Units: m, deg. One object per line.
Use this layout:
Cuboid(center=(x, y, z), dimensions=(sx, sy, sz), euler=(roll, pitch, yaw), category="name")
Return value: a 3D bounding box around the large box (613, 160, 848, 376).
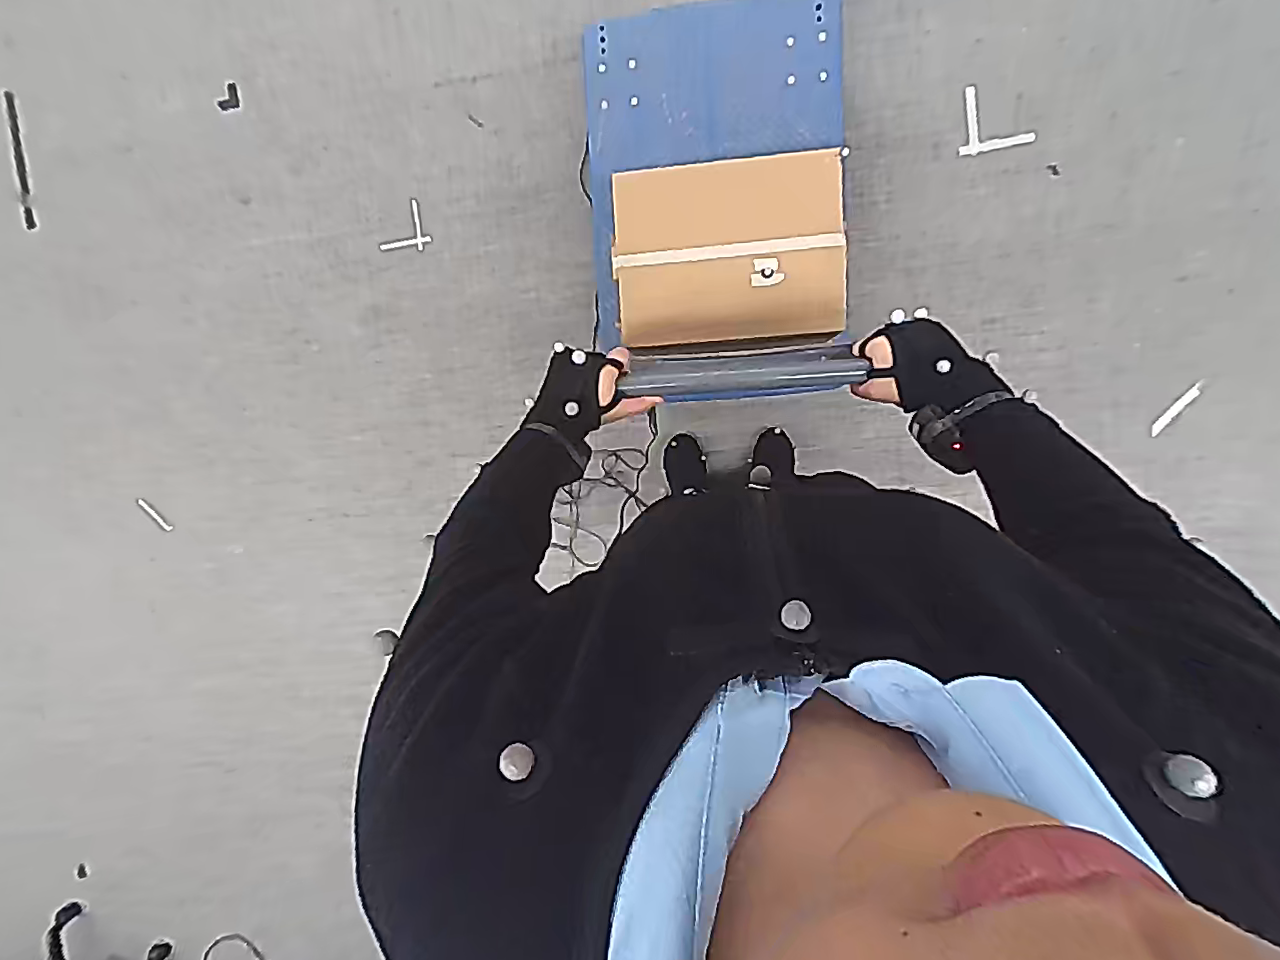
Cuboid(center=(0.172, -0.399, 1.109), dimensions=(0.408, 0.320, 0.320), euler=(-3, 96, 5), category="large box")
